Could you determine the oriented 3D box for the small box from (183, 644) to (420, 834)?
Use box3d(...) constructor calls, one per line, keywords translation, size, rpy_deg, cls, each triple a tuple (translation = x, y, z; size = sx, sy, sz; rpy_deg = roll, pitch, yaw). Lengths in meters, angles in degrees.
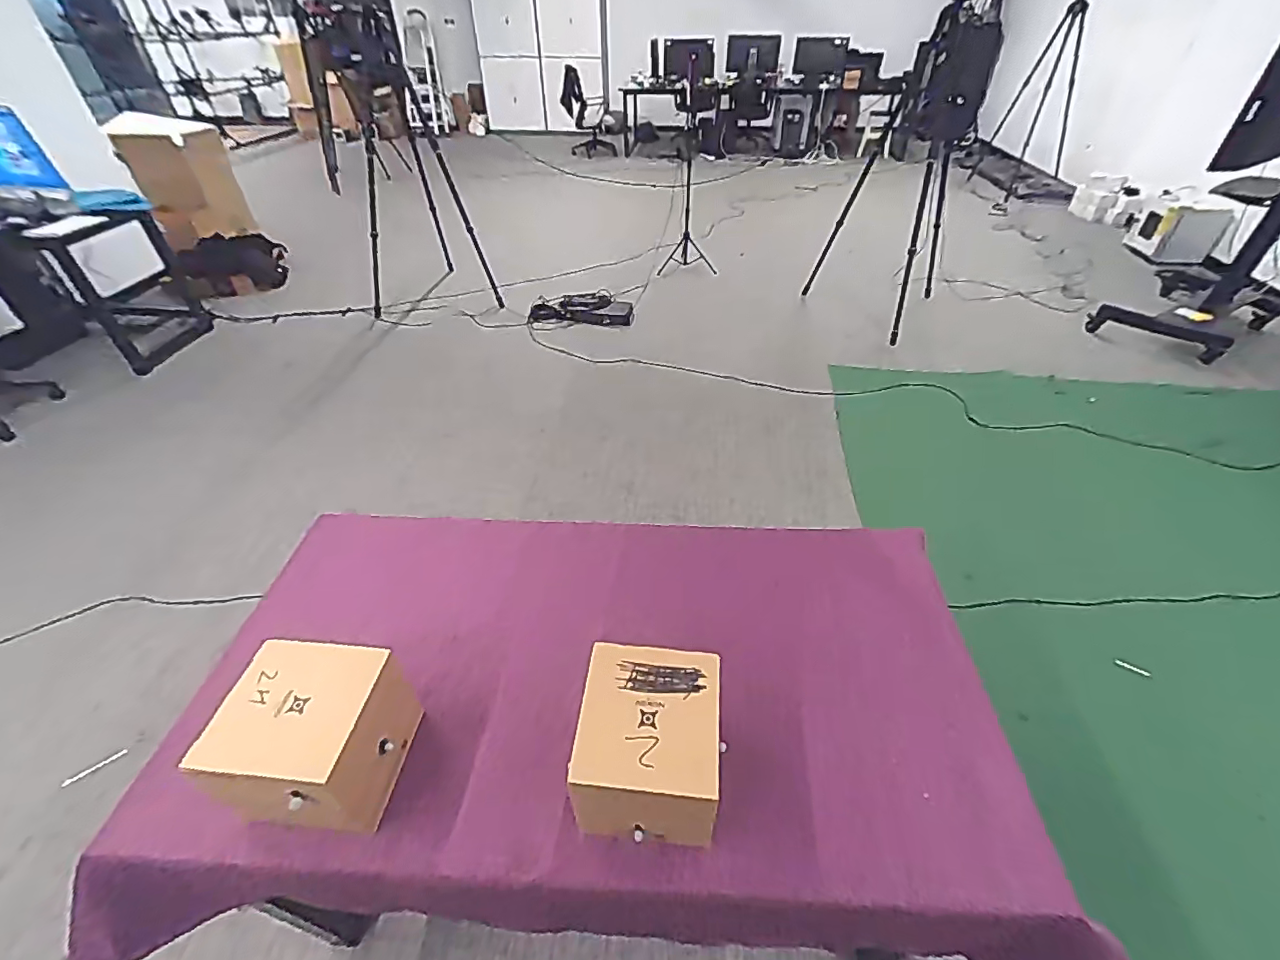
box3d(translation=(-0.416, 0.339, 0.707), size=(0.179, 0.176, 0.168), rpy_deg=(3, 40, 5), cls="small box")
